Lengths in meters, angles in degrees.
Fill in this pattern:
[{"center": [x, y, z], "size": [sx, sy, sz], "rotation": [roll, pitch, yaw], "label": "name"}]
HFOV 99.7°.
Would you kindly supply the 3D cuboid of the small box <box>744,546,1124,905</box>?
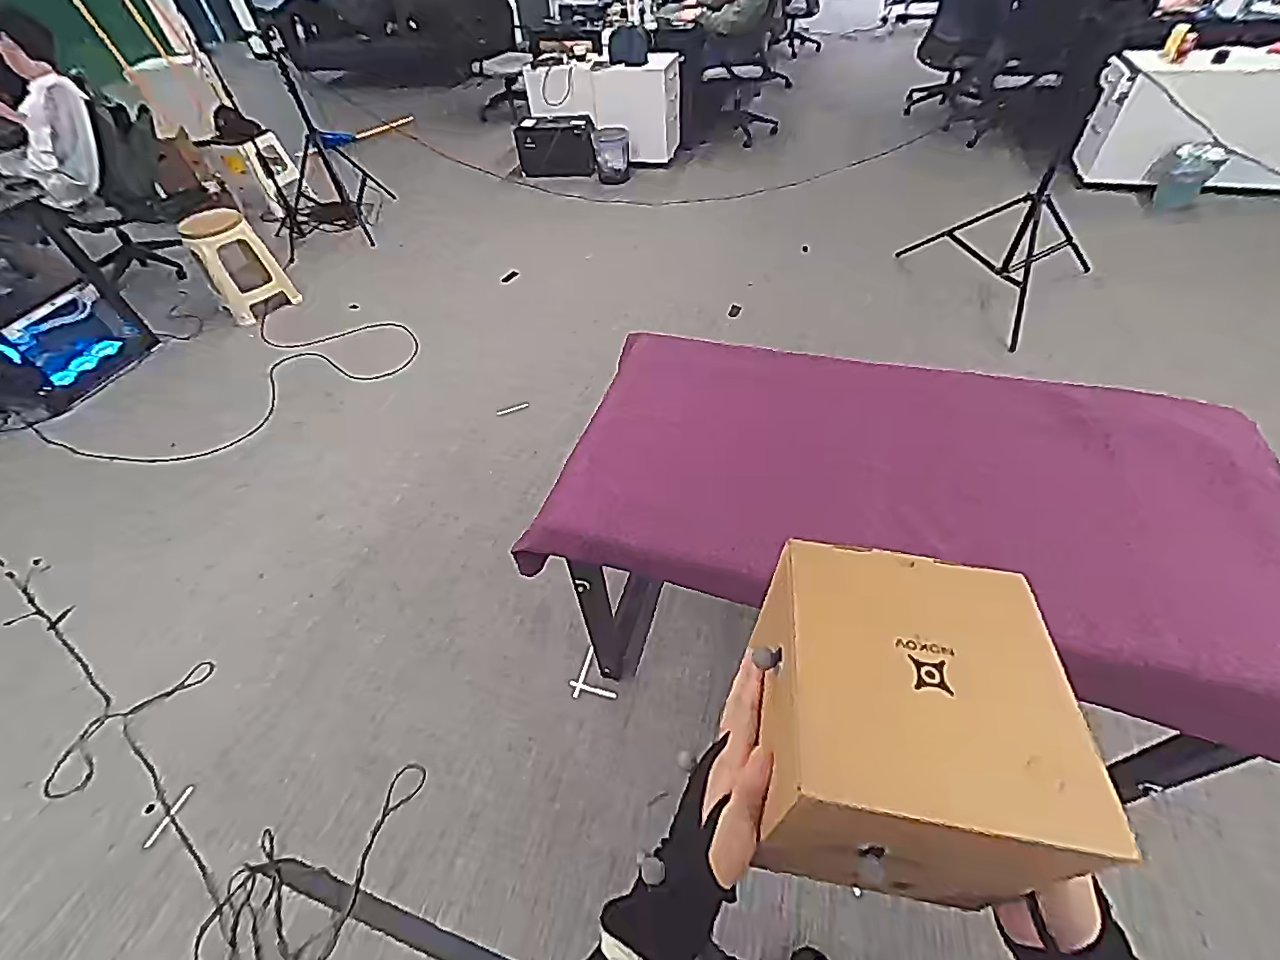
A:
[{"center": [0.173, 0.176, 0.390], "size": [0.168, 0.176, 0.179], "rotation": [8, 44, 5], "label": "small box"}]
